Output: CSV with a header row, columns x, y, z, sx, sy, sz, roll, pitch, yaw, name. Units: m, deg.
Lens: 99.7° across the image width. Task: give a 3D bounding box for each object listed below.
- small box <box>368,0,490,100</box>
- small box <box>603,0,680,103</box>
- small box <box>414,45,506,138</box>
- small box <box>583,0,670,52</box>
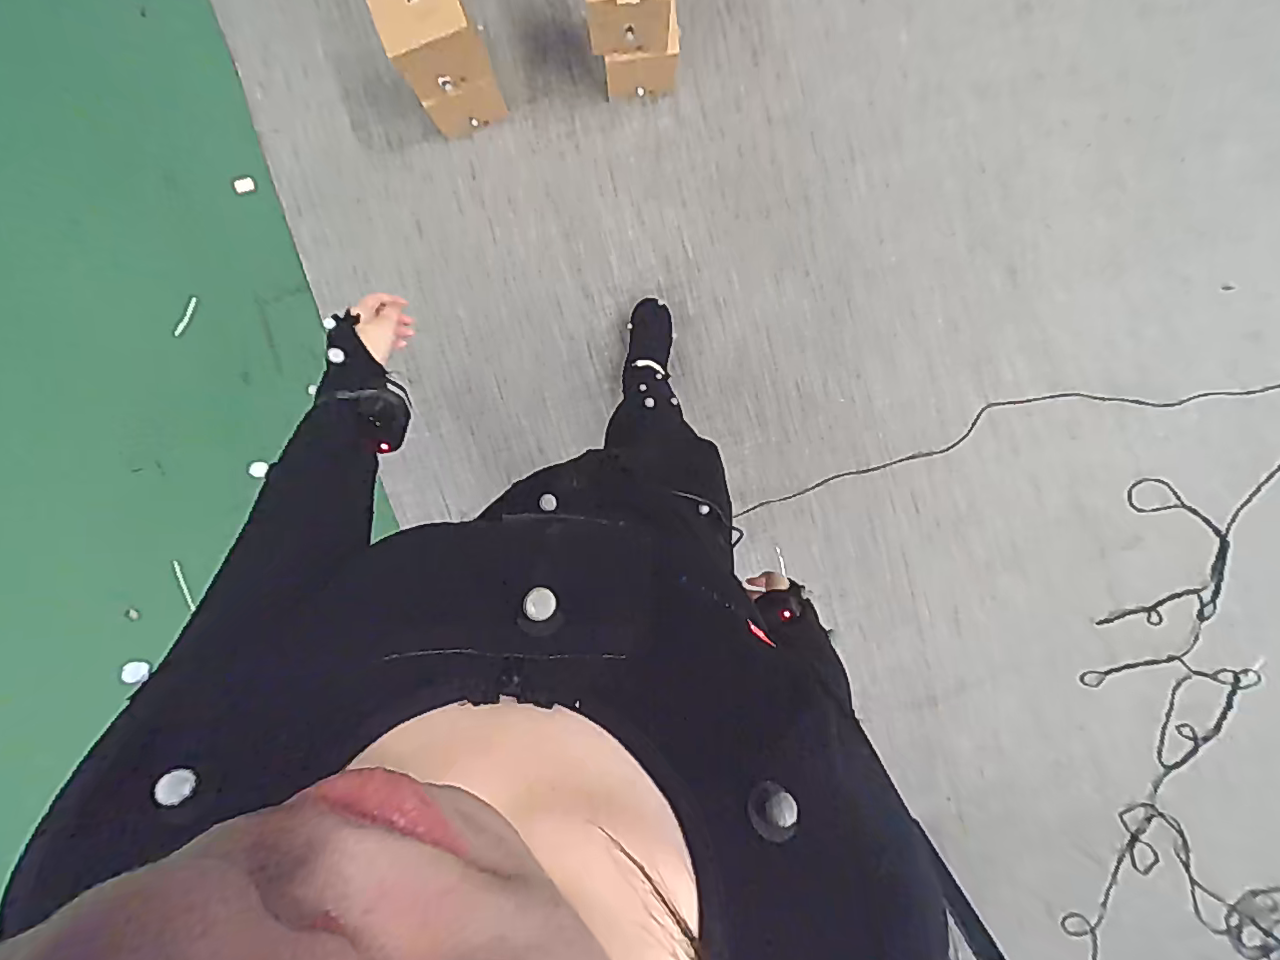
x,y,z,sx,sy,sz,roll,pitch,yaw,name
-0.422,-0.911,1.072,0.168,0.176,0.179,-19,99,4,small box
-0.003,-0.998,1.223,0.168,0.176,0.179,-6,99,1,small box
-0.426,-0.930,1.233,0.168,0.176,0.179,-20,98,3,small box
-0.024,-0.979,1.060,0.168,0.176,0.179,-2,100,0,small box
